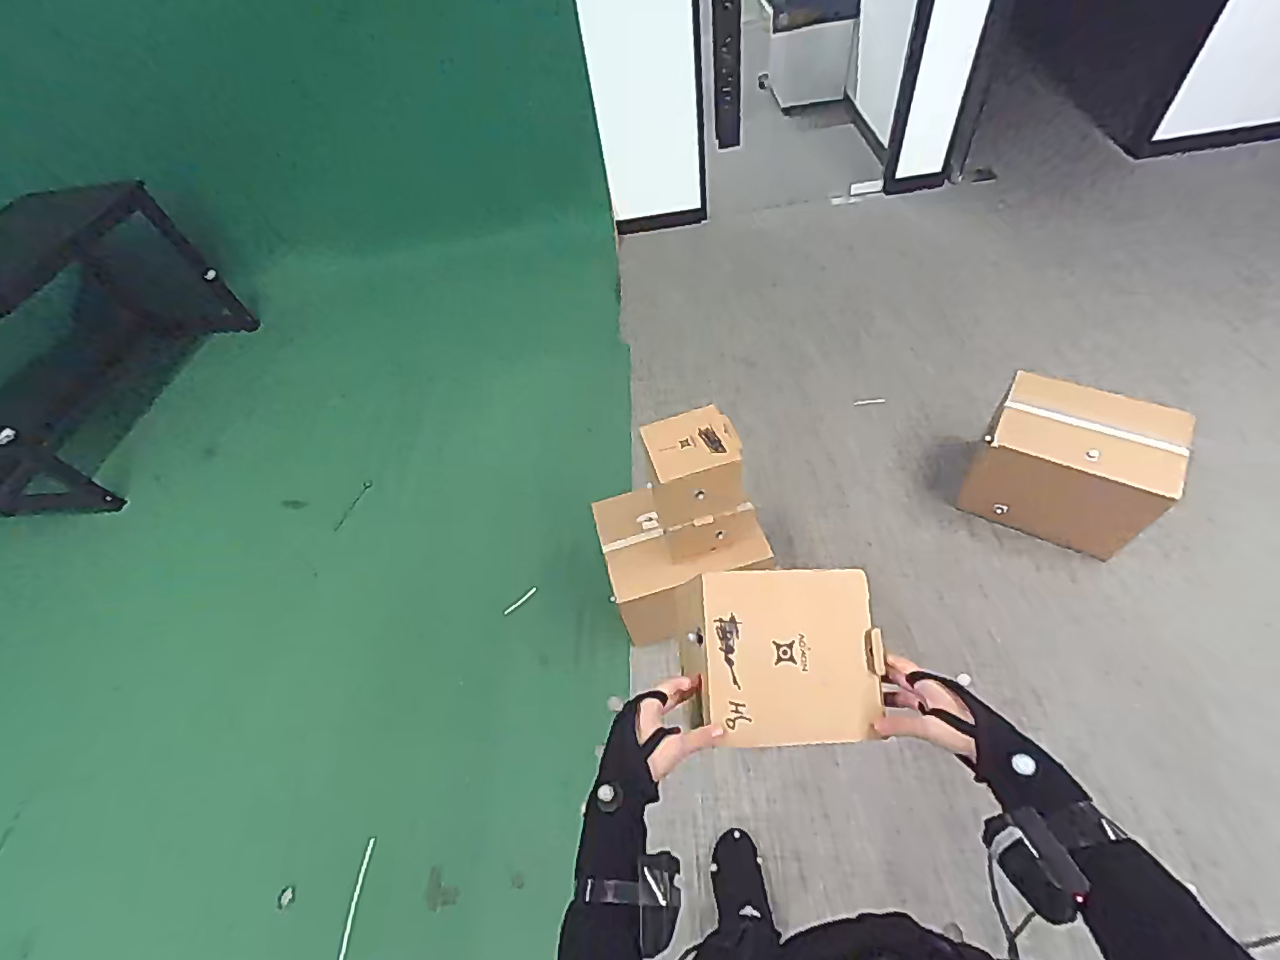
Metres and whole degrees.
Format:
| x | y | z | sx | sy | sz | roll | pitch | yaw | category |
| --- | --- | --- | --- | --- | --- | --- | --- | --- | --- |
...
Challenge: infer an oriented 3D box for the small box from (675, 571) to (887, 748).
| x | y | z | sx | sy | sz | roll | pitch | yaw | category |
| --- | --- | --- | --- | --- | --- | --- | --- | --- | --- |
| 0.141 | 0.195 | 0.605 | 0.179 | 0.176 | 0.168 | 1 | 72 | -6 | small box |

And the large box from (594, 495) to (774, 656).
| x | y | z | sx | sy | sz | roll | pitch | yaw | category |
| --- | --- | --- | --- | --- | --- | --- | --- | --- | --- |
| 0.124 | 0.240 | 1.507 | 0.408 | 0.320 | 0.320 | -17 | 50 | -2 | large box |

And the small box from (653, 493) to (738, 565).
| x | y | z | sx | sy | sz | roll | pitch | yaw | category |
| --- | --- | --- | --- | --- | --- | --- | --- | --- | --- |
| 0.134 | 0.089 | 1.310 | 0.168 | 0.176 | 0.179 | -16 | 51 | -3 | small box |

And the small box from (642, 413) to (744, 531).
| x | y | z | sx | sy | sz | roll | pitch | yaw | category |
| --- | --- | --- | --- | --- | --- | --- | --- | --- | --- |
| 0.115 | -0.015 | 1.184 | 0.179 | 0.176 | 0.168 | -17 | 52 | -3 | small box |
